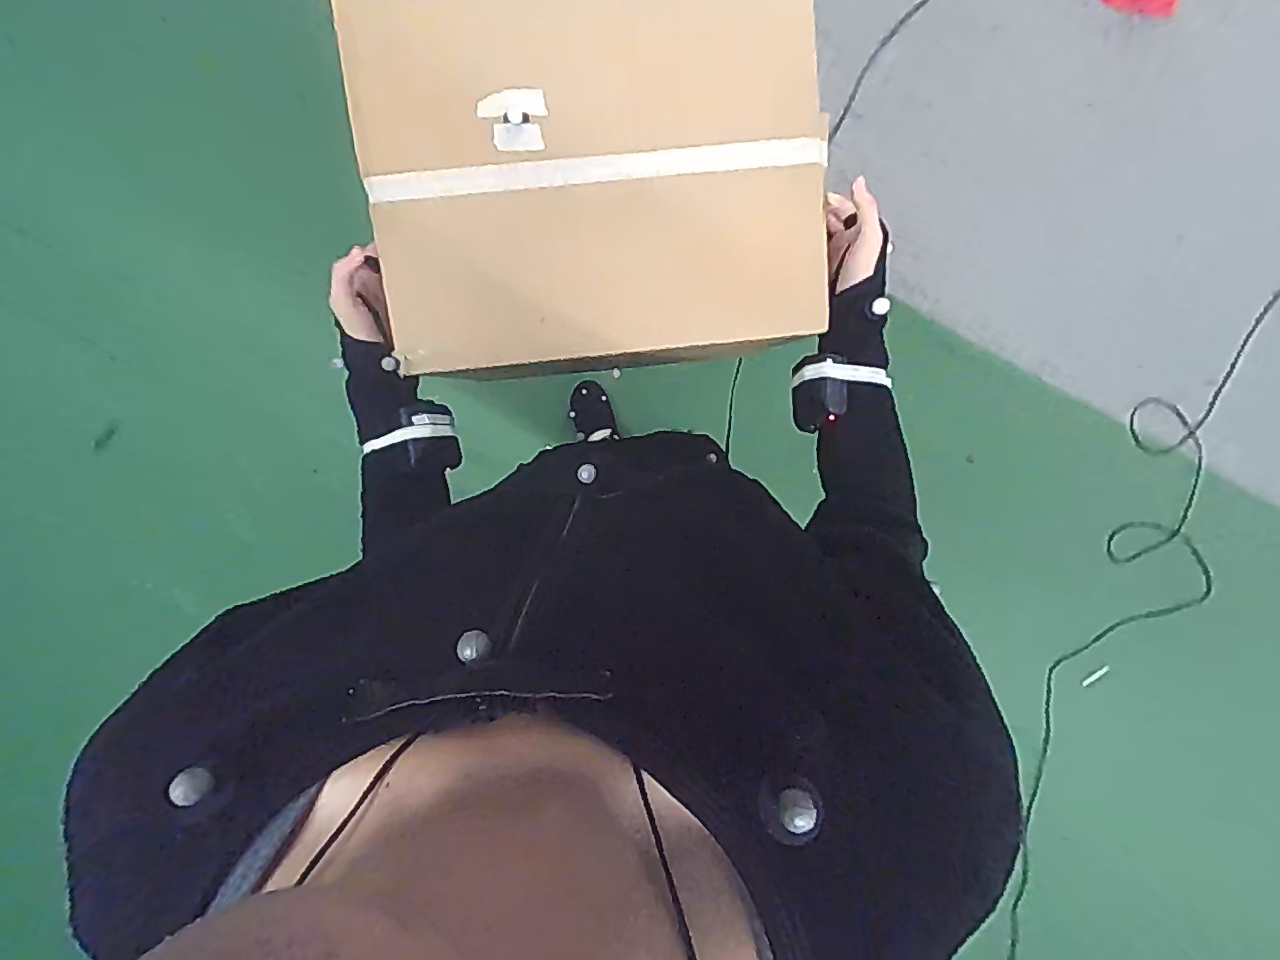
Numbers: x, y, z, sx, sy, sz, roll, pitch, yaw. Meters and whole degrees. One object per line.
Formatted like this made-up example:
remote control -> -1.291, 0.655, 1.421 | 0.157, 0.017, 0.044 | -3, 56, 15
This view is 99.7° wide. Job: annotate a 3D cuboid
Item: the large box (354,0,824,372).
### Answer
large box -> -0.039, -0.302, 0.636 | 0.408, 0.320, 0.320 | -6, 100, -2
